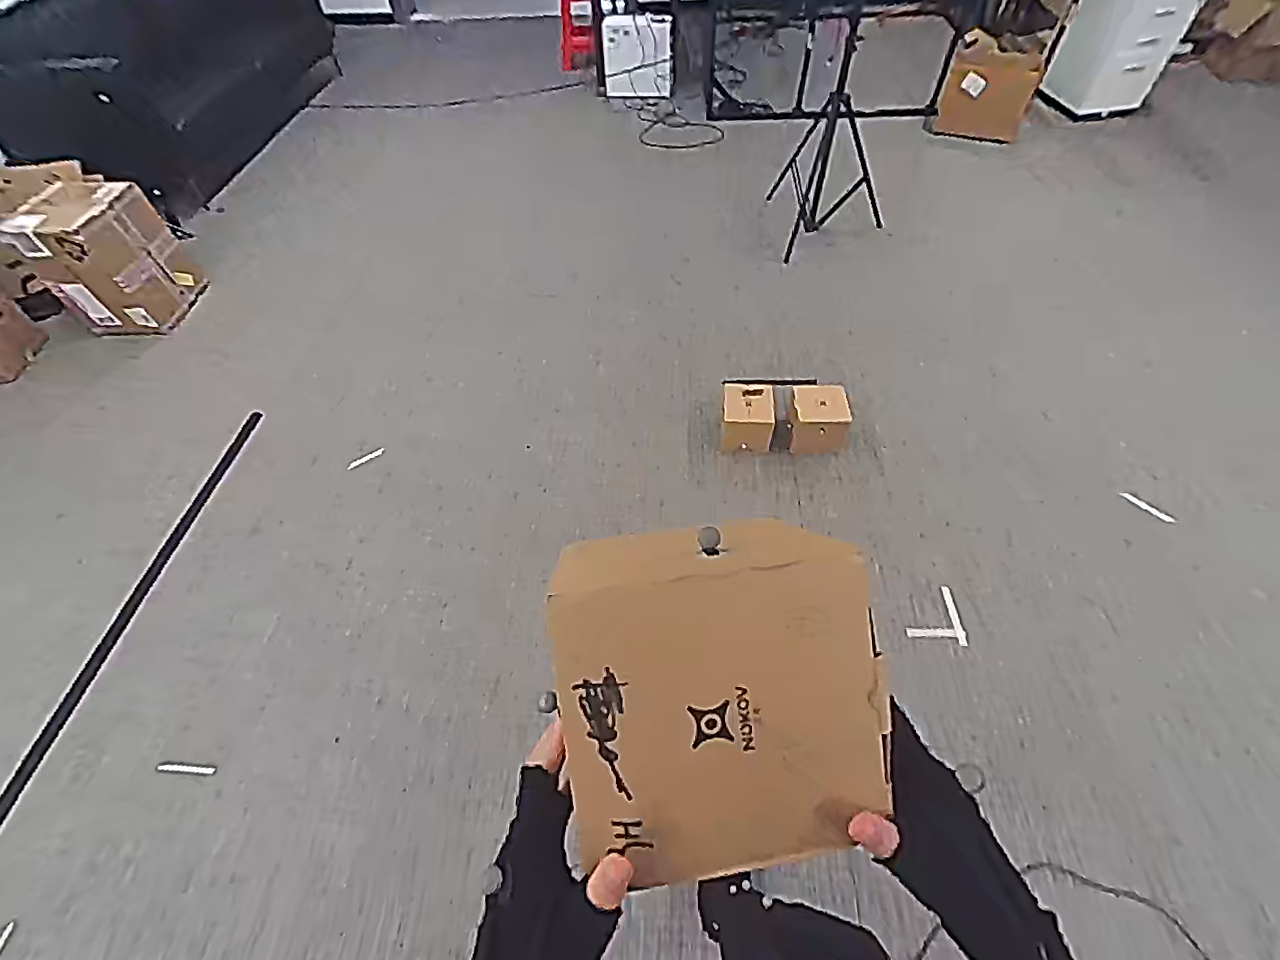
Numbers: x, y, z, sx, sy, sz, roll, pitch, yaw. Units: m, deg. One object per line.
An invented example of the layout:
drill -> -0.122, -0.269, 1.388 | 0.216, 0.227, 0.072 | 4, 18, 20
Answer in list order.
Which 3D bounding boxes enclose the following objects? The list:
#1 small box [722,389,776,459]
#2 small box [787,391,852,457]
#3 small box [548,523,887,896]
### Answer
small box -> 0.375, -0.195, 1.885 | 0.168, 0.176, 0.179 | 3, 55, 6
small box -> 0.613, -0.192, 1.871 | 0.179, 0.176, 0.168 | 1, 55, 3
small box -> 0.037, 0.127, 0.371 | 0.179, 0.176, 0.168 | -8, 92, -6
